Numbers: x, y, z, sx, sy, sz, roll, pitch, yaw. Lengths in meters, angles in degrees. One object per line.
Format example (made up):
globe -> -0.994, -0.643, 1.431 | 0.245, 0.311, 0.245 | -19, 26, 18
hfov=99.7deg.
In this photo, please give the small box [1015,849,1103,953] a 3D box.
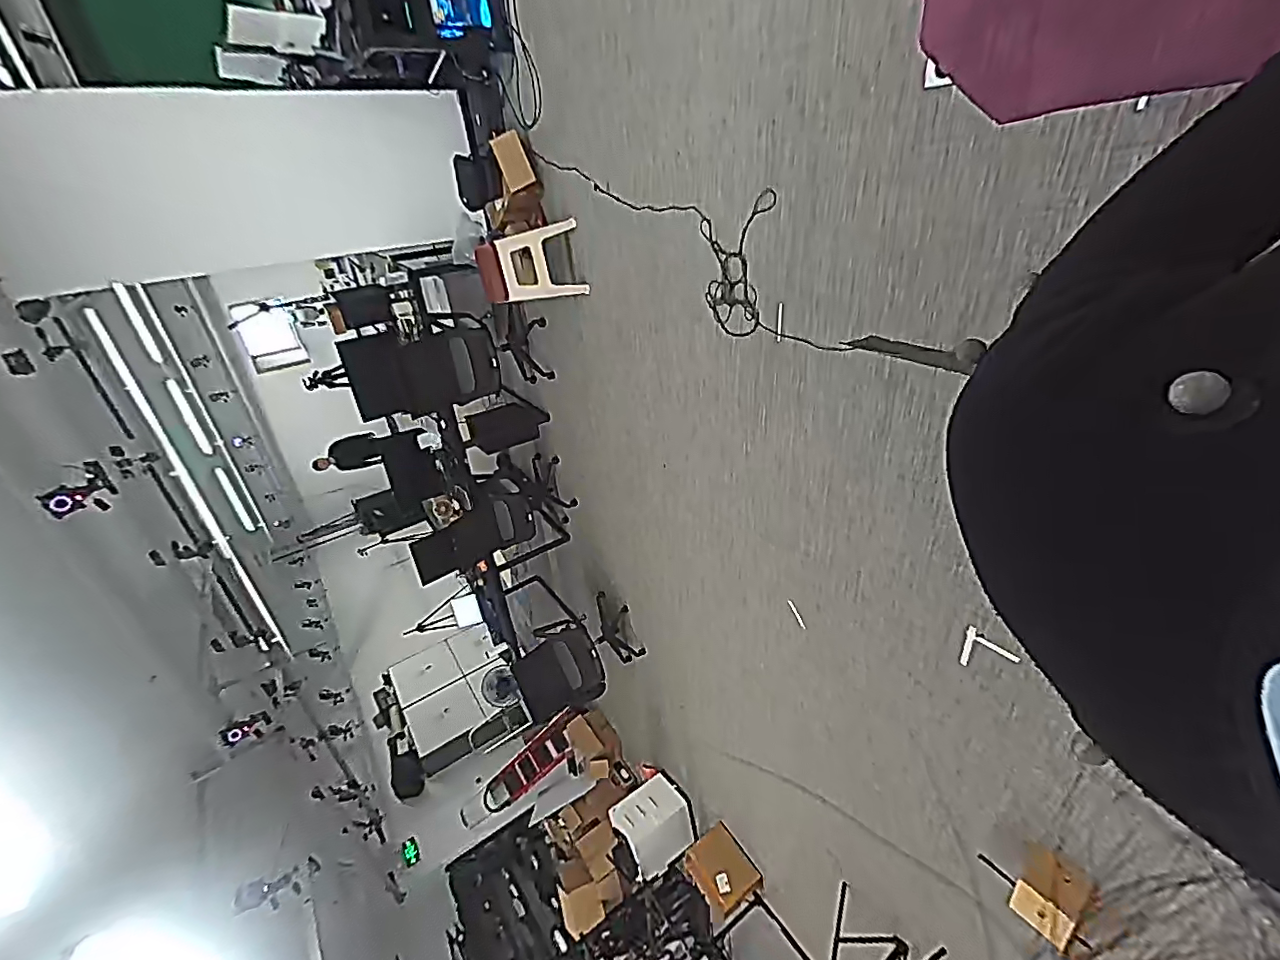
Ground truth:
small box -> 1.361, 1.361, 1.756 | 0.168, 0.176, 0.179 | 28, 134, 50
